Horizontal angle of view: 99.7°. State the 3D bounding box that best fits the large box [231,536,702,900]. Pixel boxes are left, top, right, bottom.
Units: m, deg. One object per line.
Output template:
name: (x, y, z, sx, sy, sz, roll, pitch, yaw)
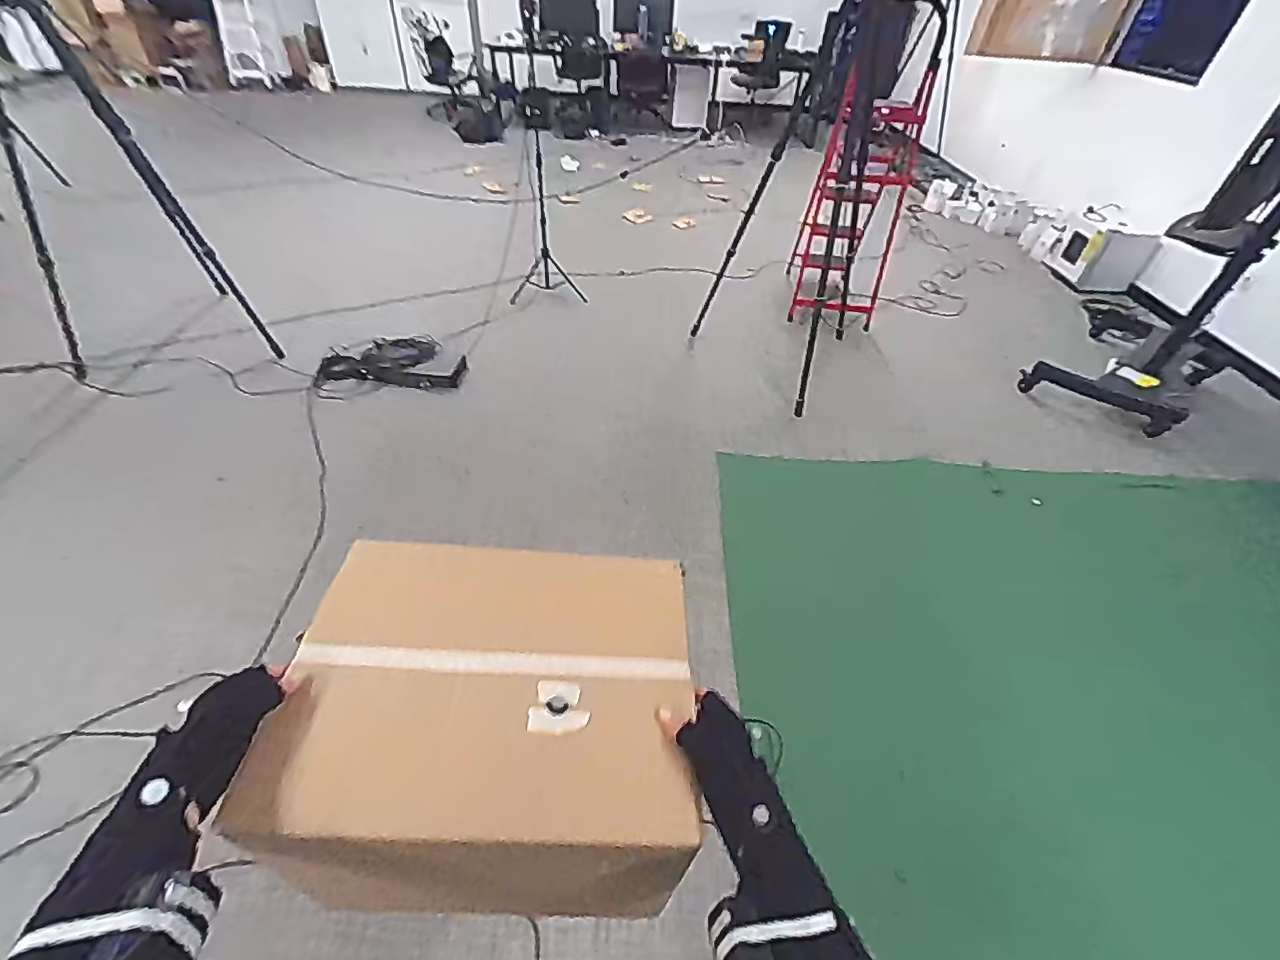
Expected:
large box: (-0.161, 0.293, 0.667, 0.408, 0.320, 0.320, 4, 43, -5)
